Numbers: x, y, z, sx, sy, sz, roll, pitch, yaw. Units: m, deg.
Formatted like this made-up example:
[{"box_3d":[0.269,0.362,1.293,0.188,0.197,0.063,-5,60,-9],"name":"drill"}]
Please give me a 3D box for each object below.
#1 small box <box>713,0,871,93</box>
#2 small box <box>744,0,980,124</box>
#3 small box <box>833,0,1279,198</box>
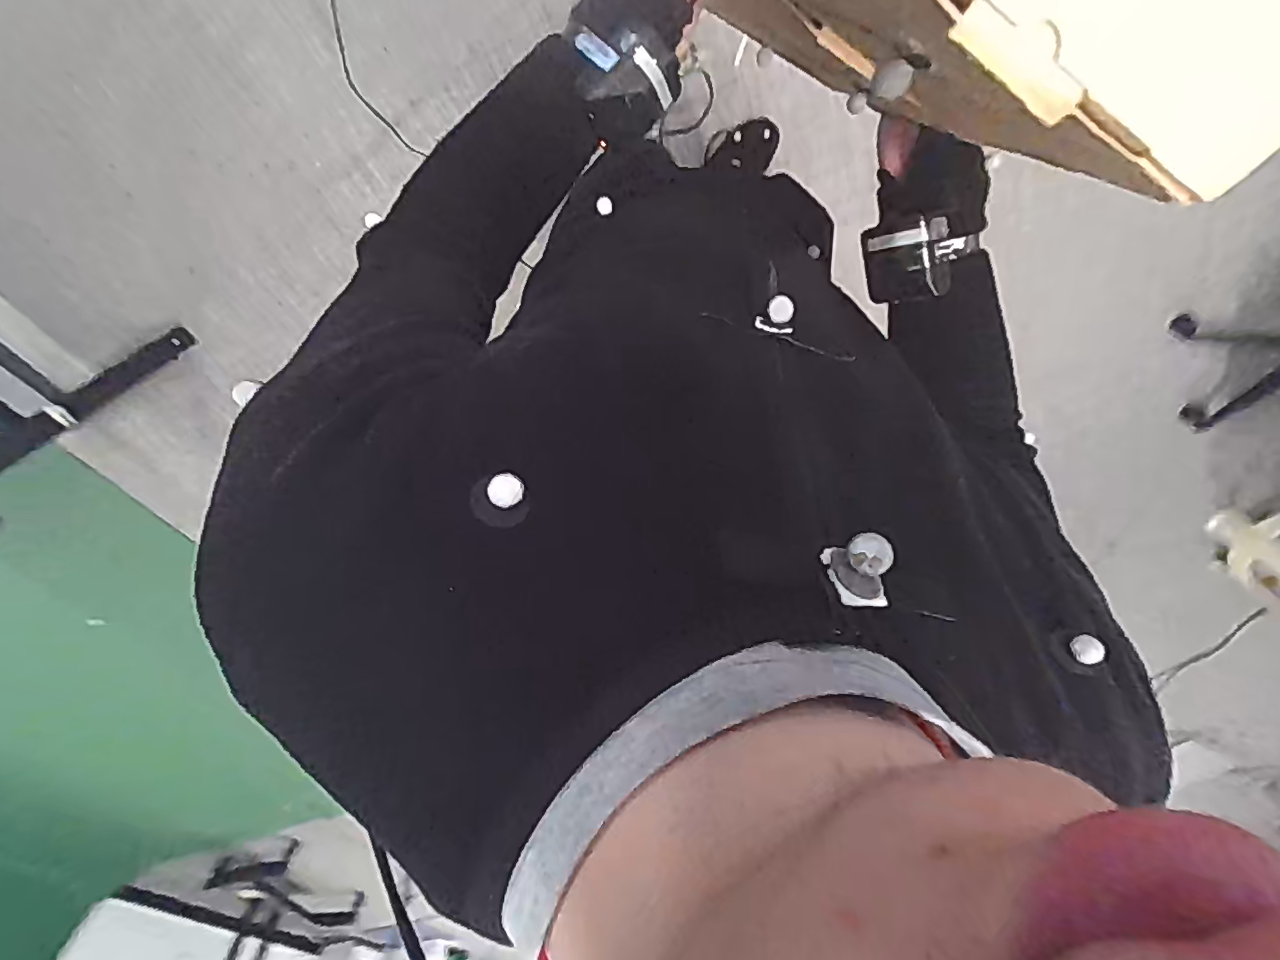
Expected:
[{"box_3d":[0.162,-0.435,0.412,0.168,0.176,0.179,21,127,-14],"name":"small box"},{"box_3d":[0.155,-0.331,0.289,0.168,0.176,0.179,22,125,-15],"name":"small box"},{"box_3d":[0.153,-0.227,0.162,0.168,0.176,0.179,23,127,-16],"name":"small box"}]
